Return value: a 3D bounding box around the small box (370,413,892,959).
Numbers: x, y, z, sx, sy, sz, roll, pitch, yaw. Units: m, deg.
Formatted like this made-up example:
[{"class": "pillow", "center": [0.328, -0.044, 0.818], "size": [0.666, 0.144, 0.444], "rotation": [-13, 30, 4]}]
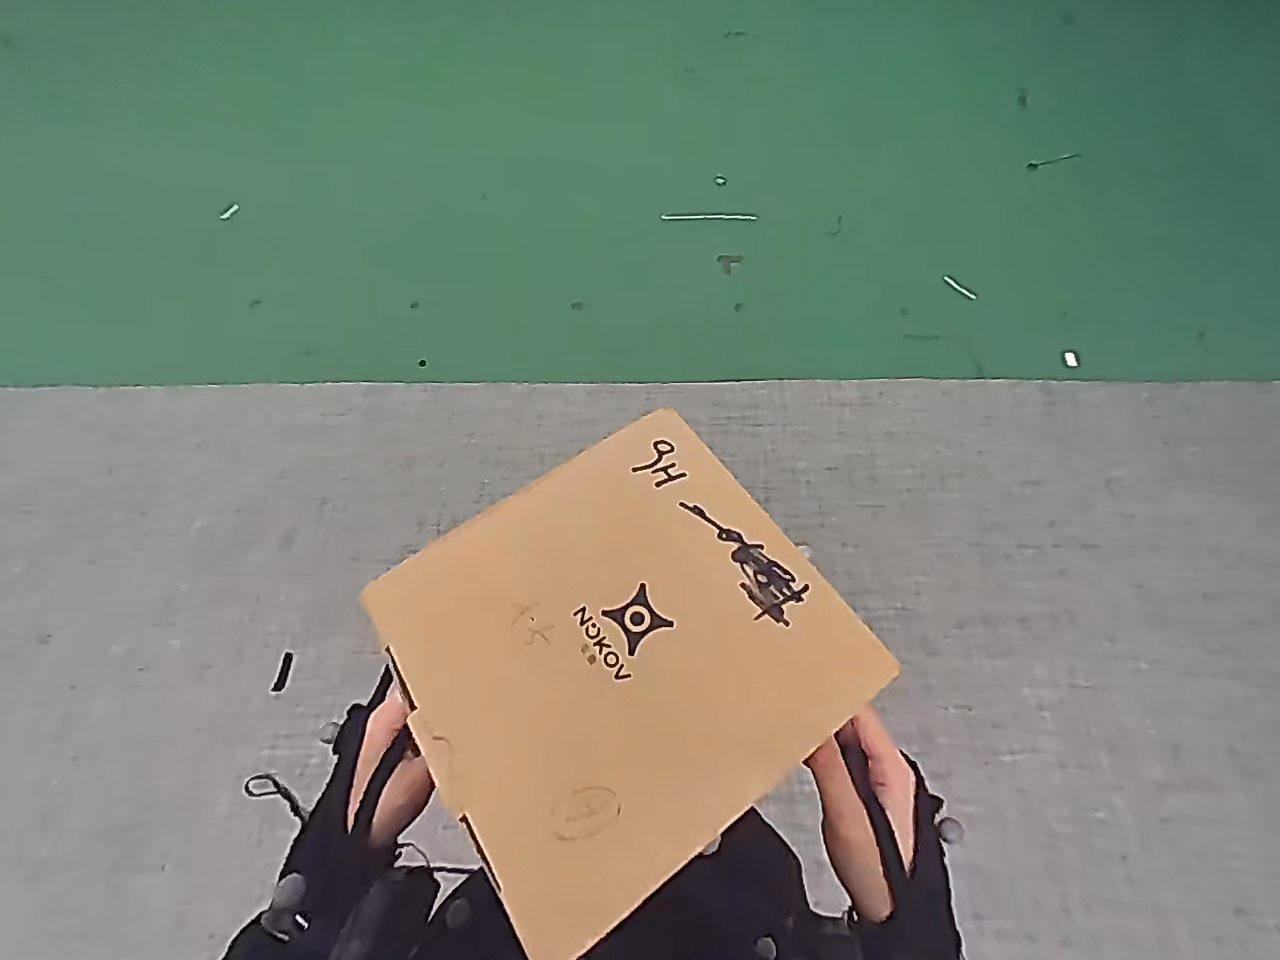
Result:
[{"class": "small box", "center": [-0.005, 0.103, 0.305], "size": [0.179, 0.176, 0.168], "rotation": [-33, 66, -14]}]
